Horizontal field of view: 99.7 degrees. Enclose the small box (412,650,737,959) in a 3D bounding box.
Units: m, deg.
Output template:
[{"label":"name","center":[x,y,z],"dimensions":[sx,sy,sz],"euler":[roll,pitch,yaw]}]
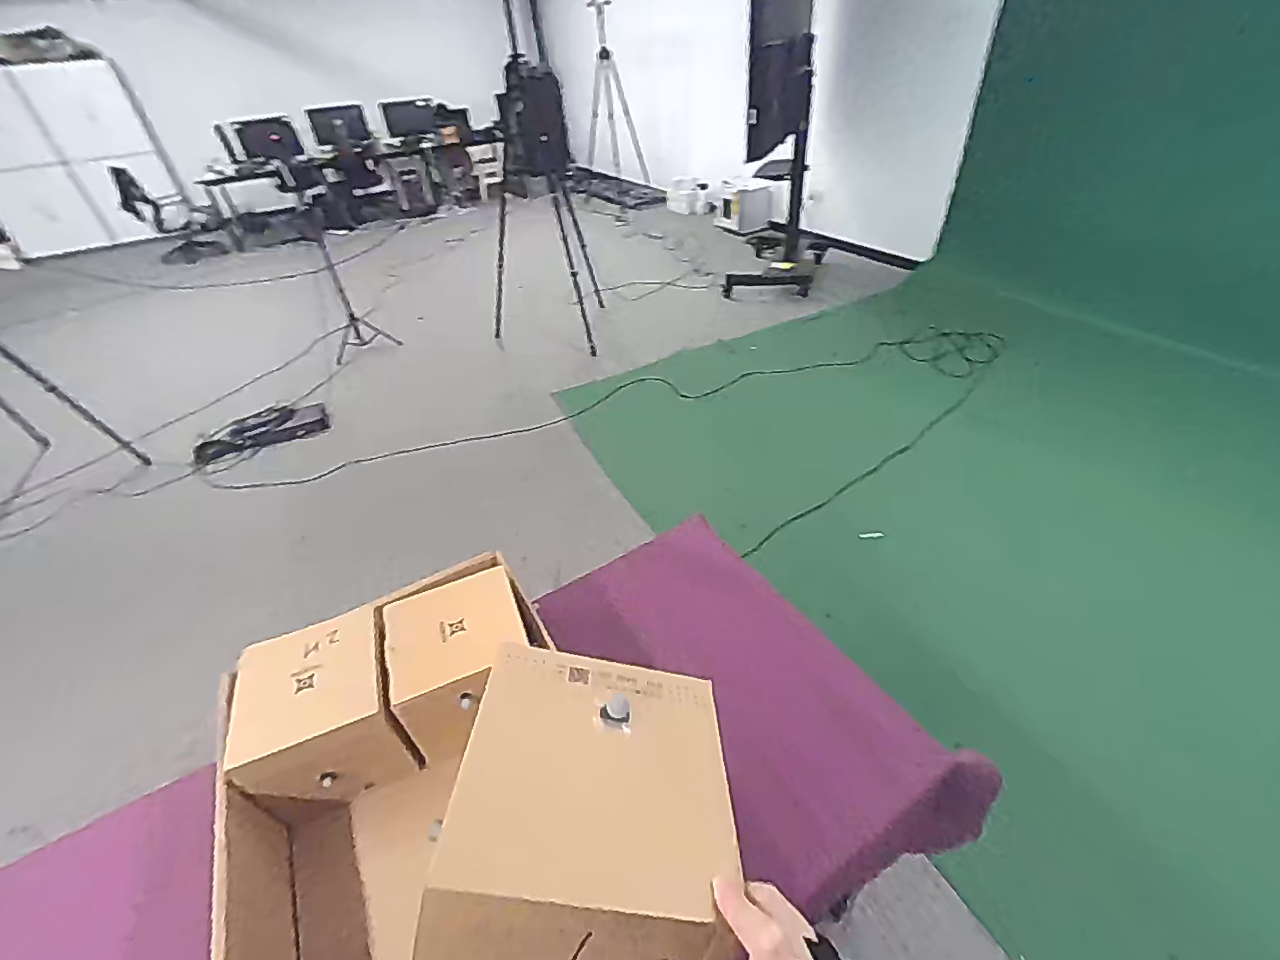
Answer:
[{"label":"small box","center":[-0.047,0.254,0.378],"dimensions":[0.168,0.179,0.176],"euler":[13,23,-6]}]
